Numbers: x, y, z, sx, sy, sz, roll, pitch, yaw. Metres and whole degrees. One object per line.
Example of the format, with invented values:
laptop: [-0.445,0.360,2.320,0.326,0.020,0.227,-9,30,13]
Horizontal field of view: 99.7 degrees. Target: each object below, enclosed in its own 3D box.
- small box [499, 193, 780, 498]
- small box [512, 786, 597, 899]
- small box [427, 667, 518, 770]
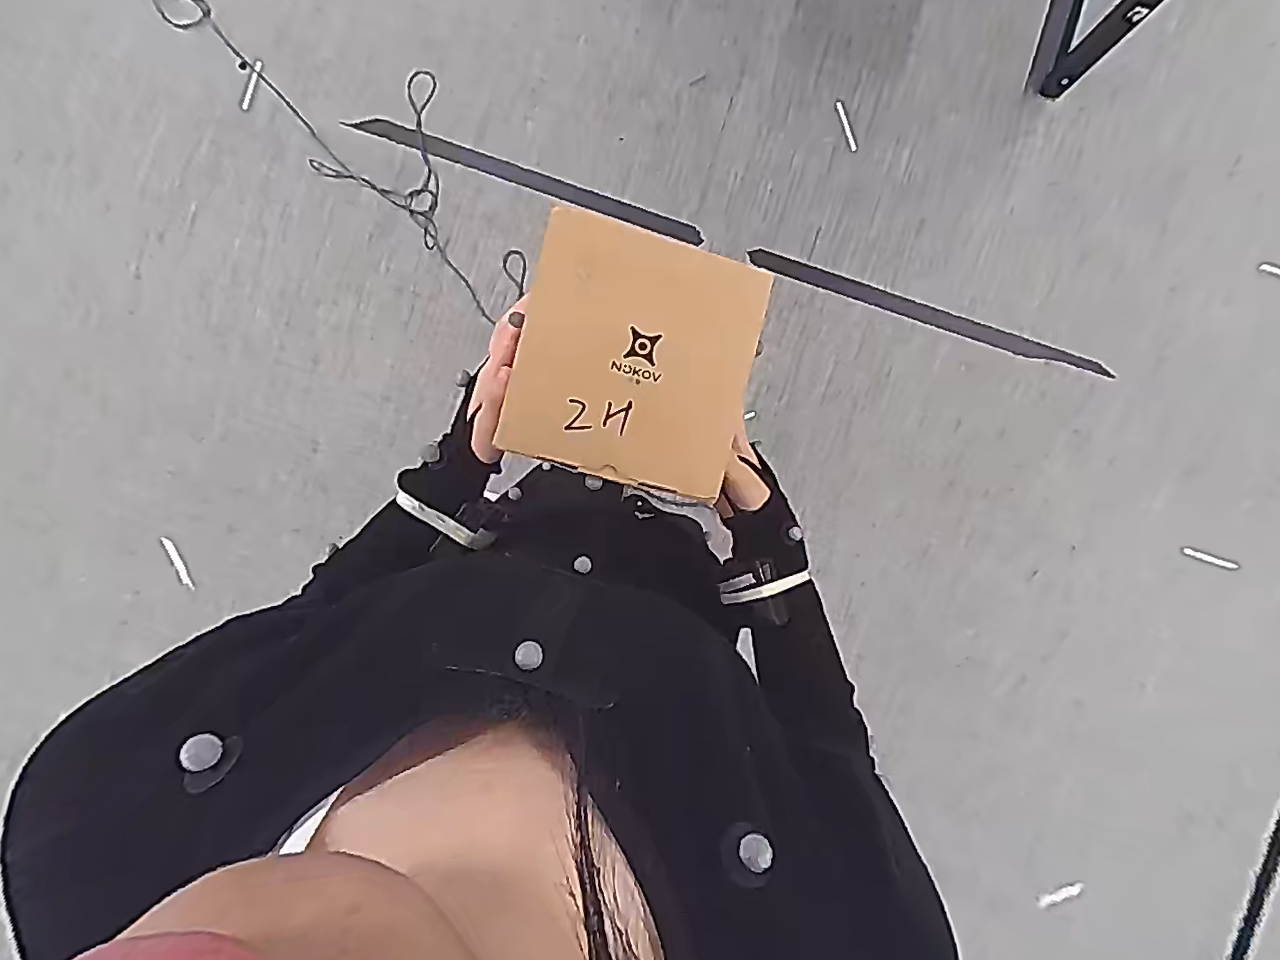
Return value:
small box: [-0.010,-0.093,0.453,0.168,0.176,0.179,15,90,-9]
small box: [-0.213,0.925,1.395,0.179,0.176,0.168,12,90,-1]
small box: [-0.423,0.604,1.394,0.168,0.176,0.179,13,91,0]
